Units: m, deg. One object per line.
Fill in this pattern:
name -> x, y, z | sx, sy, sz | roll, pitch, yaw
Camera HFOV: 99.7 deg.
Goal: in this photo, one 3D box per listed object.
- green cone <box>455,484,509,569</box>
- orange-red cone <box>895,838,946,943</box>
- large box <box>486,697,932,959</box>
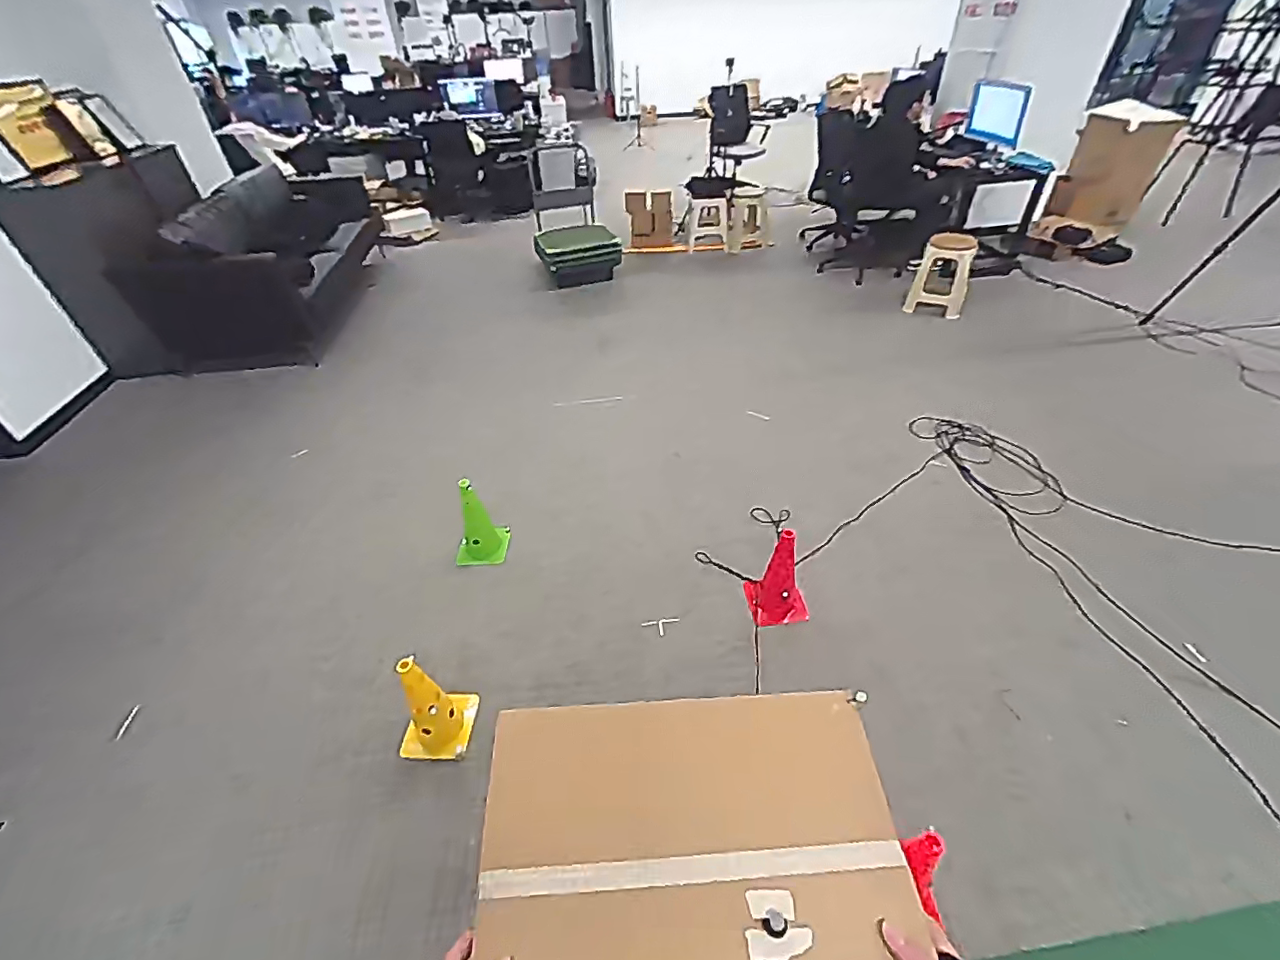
green cone -> -0.661, 0.159, 2.130 | 0.200, 0.368, 0.202 | -3, 42, 1
orange-red cone -> 0.606, 0.875, 1.207 | 0.199, 0.360, 0.198 | -1, 41, 1
large box -> 0.054, 0.477, 0.629 | 0.408, 0.320, 0.320 | -3, 50, -3
